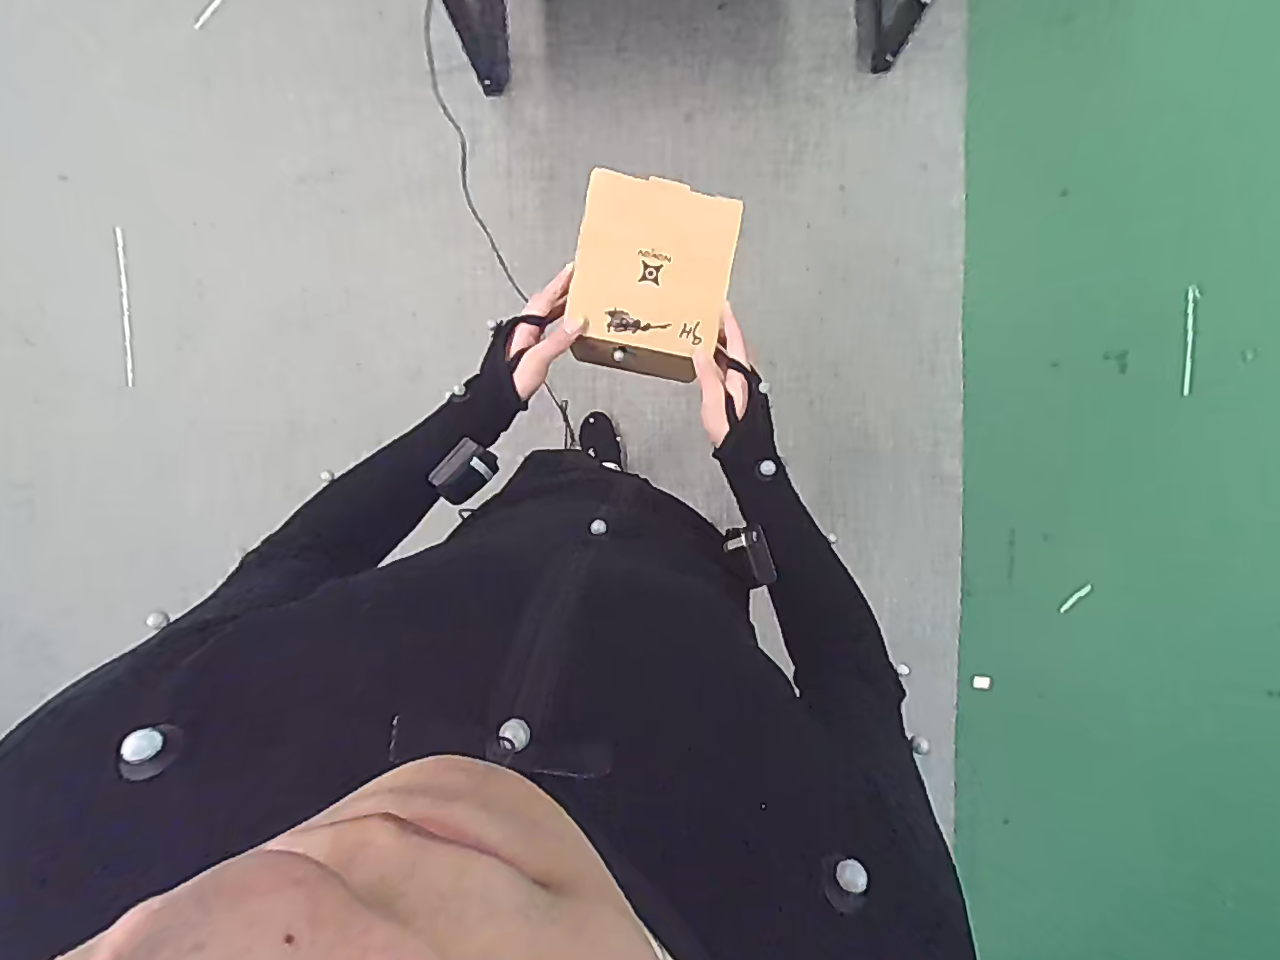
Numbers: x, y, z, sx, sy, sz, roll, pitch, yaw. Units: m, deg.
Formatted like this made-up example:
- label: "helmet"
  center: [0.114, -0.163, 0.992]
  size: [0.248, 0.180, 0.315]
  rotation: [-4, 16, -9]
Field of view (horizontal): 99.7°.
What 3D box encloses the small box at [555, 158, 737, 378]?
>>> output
- label: "small box"
  center: [0.003, -0.233, 0.639]
  size: [0.168, 0.176, 0.179]
  rotation: [11, 91, -2]
